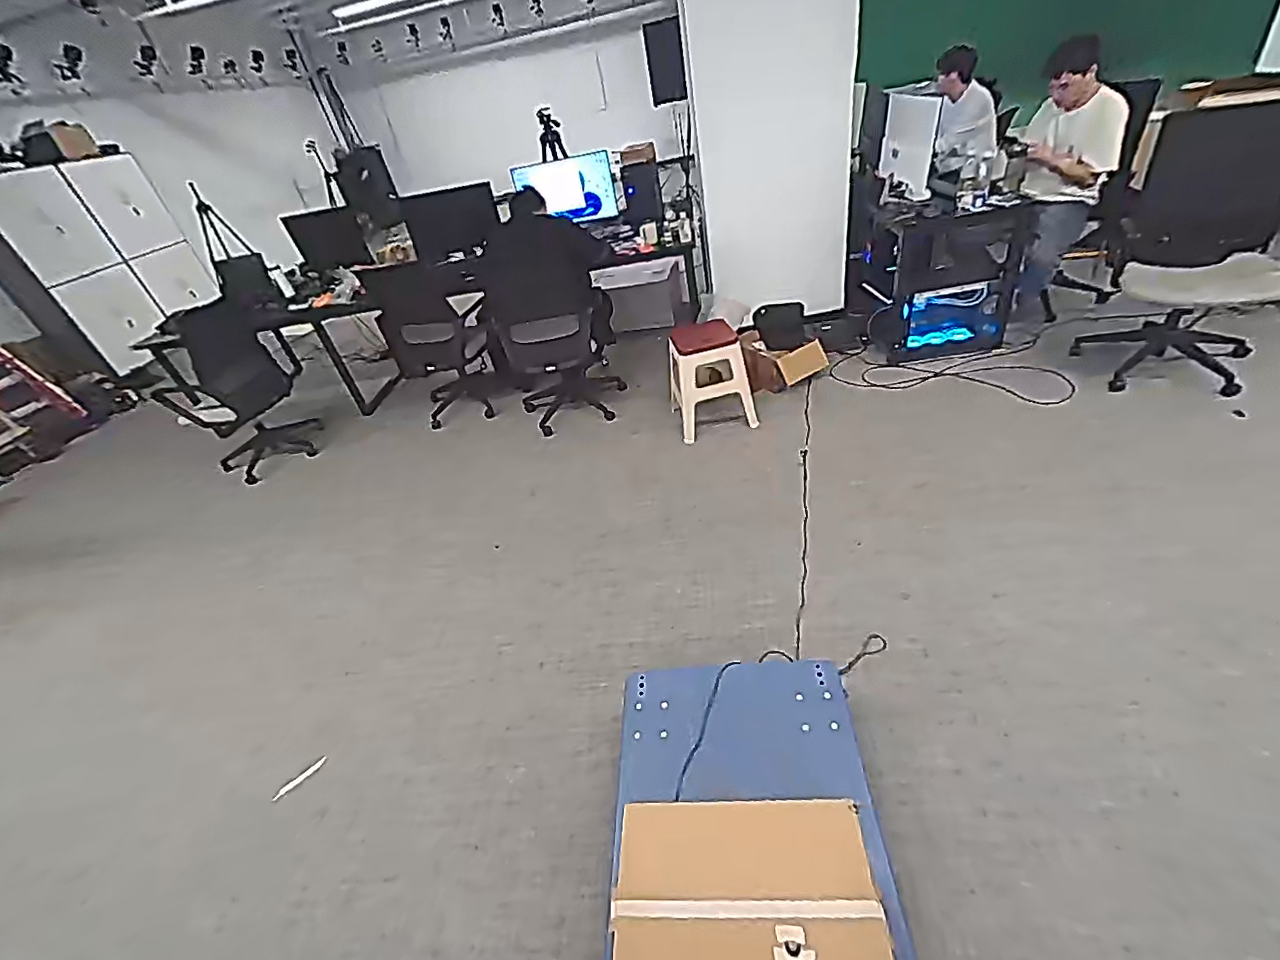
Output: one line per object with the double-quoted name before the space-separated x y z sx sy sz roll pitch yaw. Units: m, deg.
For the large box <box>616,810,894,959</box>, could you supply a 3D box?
"large box" 0.184 0.784 0.895 0.408 0.320 0.320 -6 37 8
